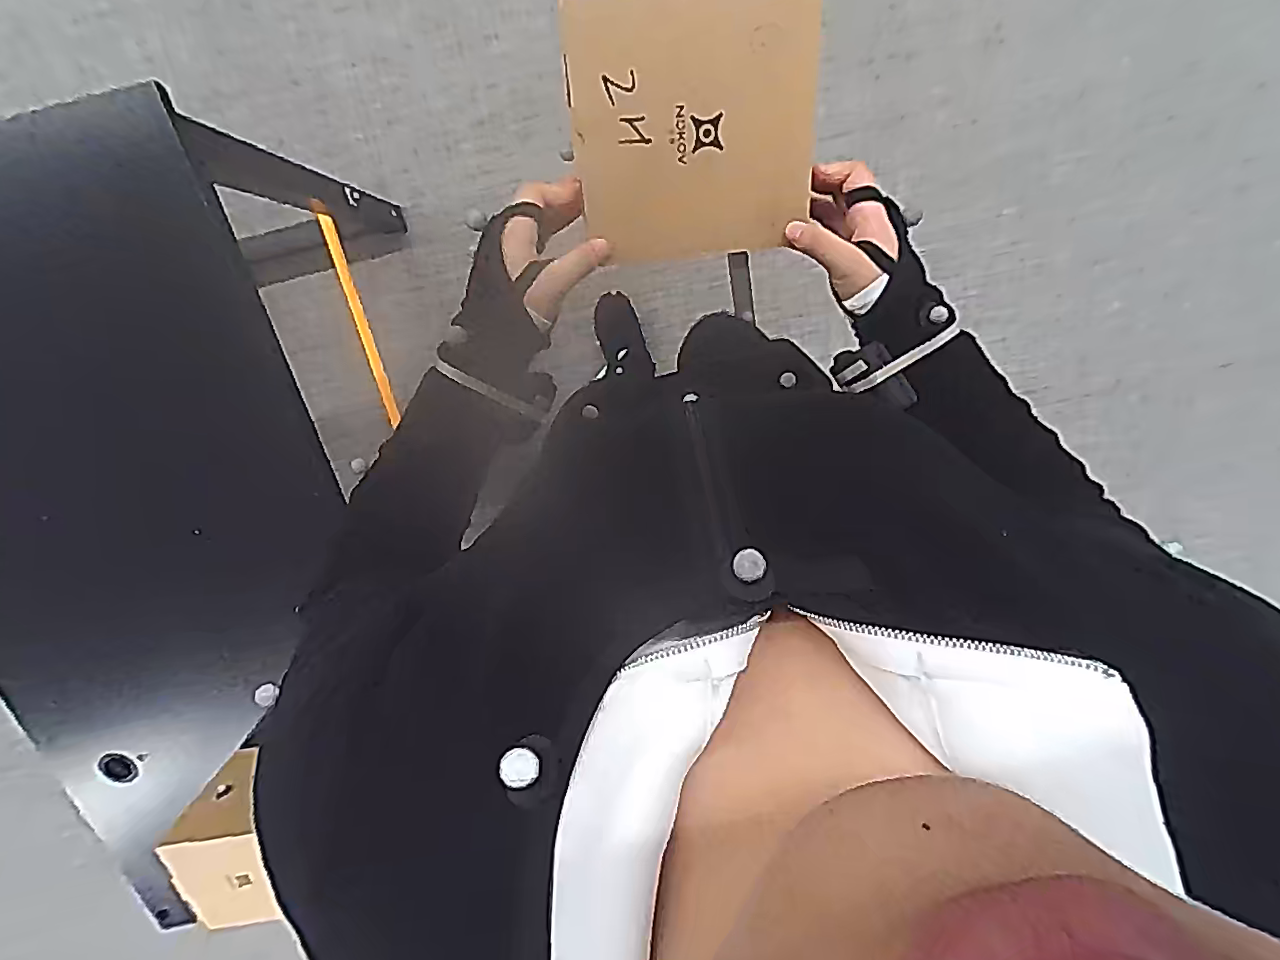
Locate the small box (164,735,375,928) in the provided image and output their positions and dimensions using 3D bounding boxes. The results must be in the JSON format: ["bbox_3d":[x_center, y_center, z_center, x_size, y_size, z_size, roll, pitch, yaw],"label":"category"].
[{"bbox_3d":[-0.538,0.518,0.814,0.179,0.176,0.168,-10,109,0],"label":"small box"}]

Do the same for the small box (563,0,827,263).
[{"bbox_3d":[0.036,-0.287,0.454,0.179,0.176,0.168,-6,119,0],"label":"small box"}]
